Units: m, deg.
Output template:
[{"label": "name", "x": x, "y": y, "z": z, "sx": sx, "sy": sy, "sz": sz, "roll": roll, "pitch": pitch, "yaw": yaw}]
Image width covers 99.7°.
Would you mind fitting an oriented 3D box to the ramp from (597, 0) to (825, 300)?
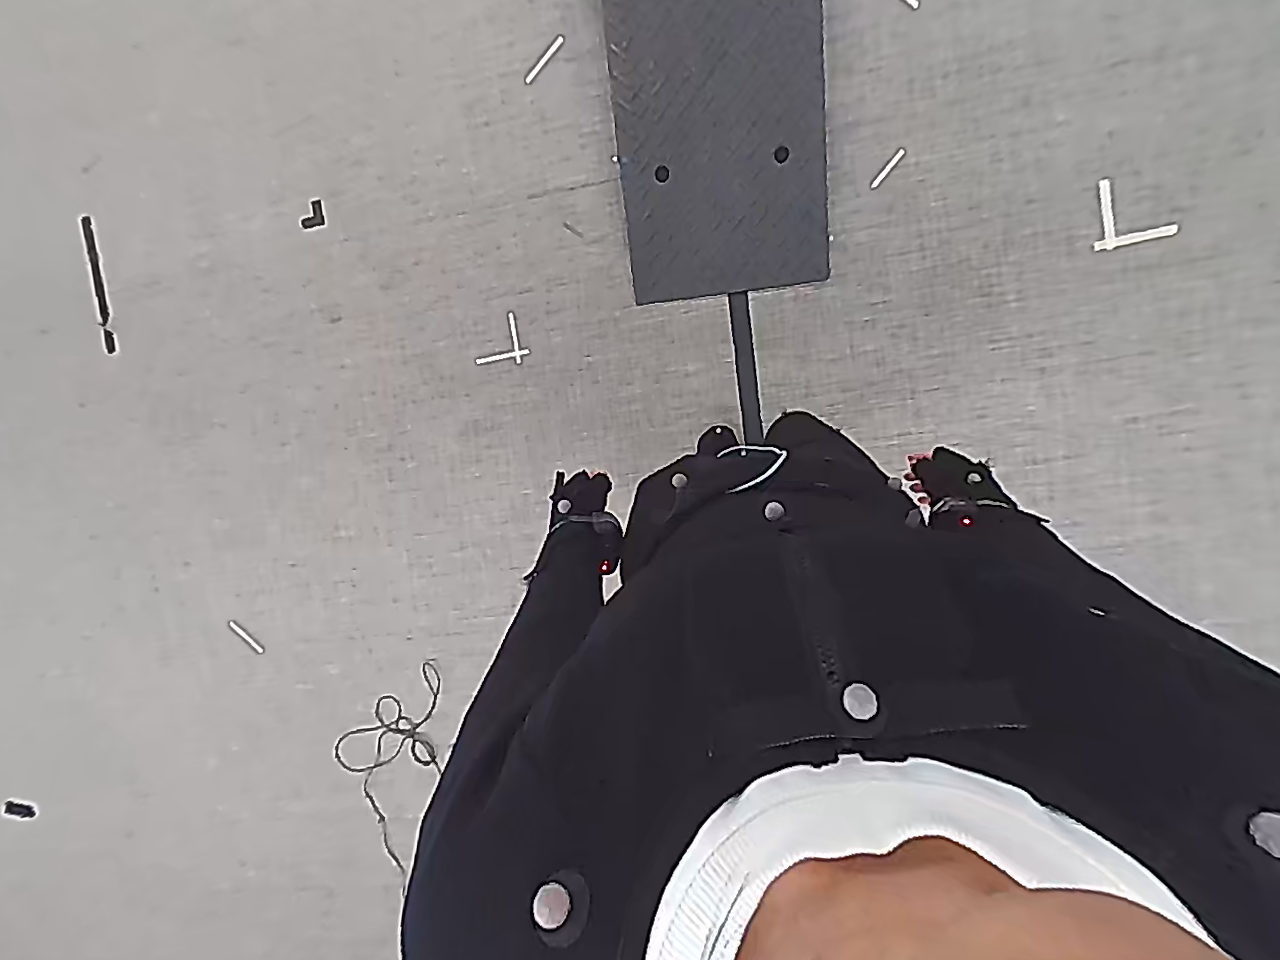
[{"label": "ramp", "x": 0.162, "y": -0.966, "z": 1.243, "sx": 0.509, "sy": 0.206, "sz": 0.991, "roll": -7, "pitch": 96, "yaw": 7}]
